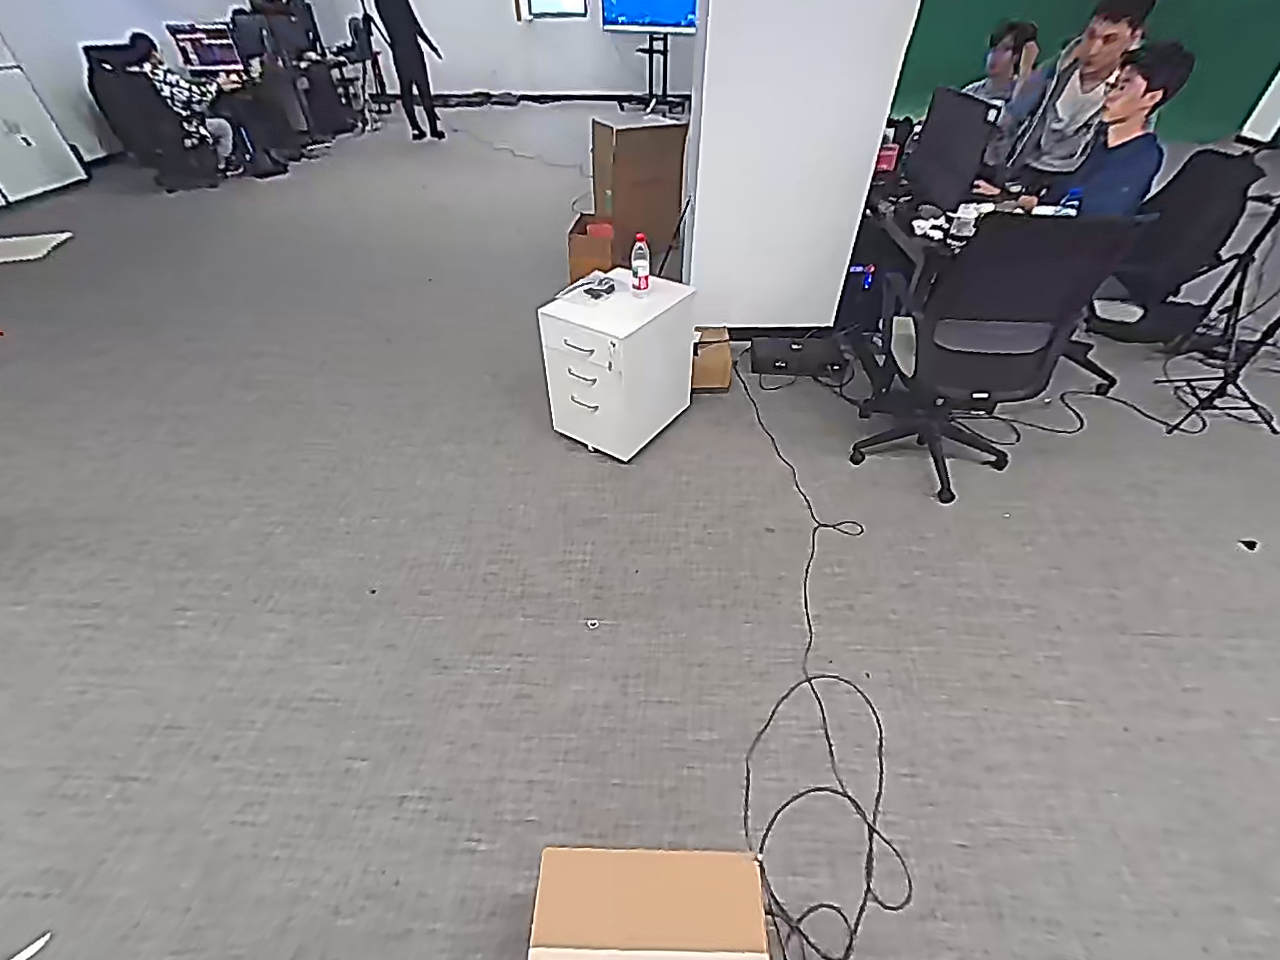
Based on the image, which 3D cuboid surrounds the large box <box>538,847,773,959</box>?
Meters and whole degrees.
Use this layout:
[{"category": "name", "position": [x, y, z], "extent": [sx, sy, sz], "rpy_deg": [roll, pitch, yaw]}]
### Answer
[{"category": "large box", "position": [0.025, 0.913, 1.007], "extent": [0.408, 0.320, 0.320], "rpy_deg": [0, 42, 2]}]
